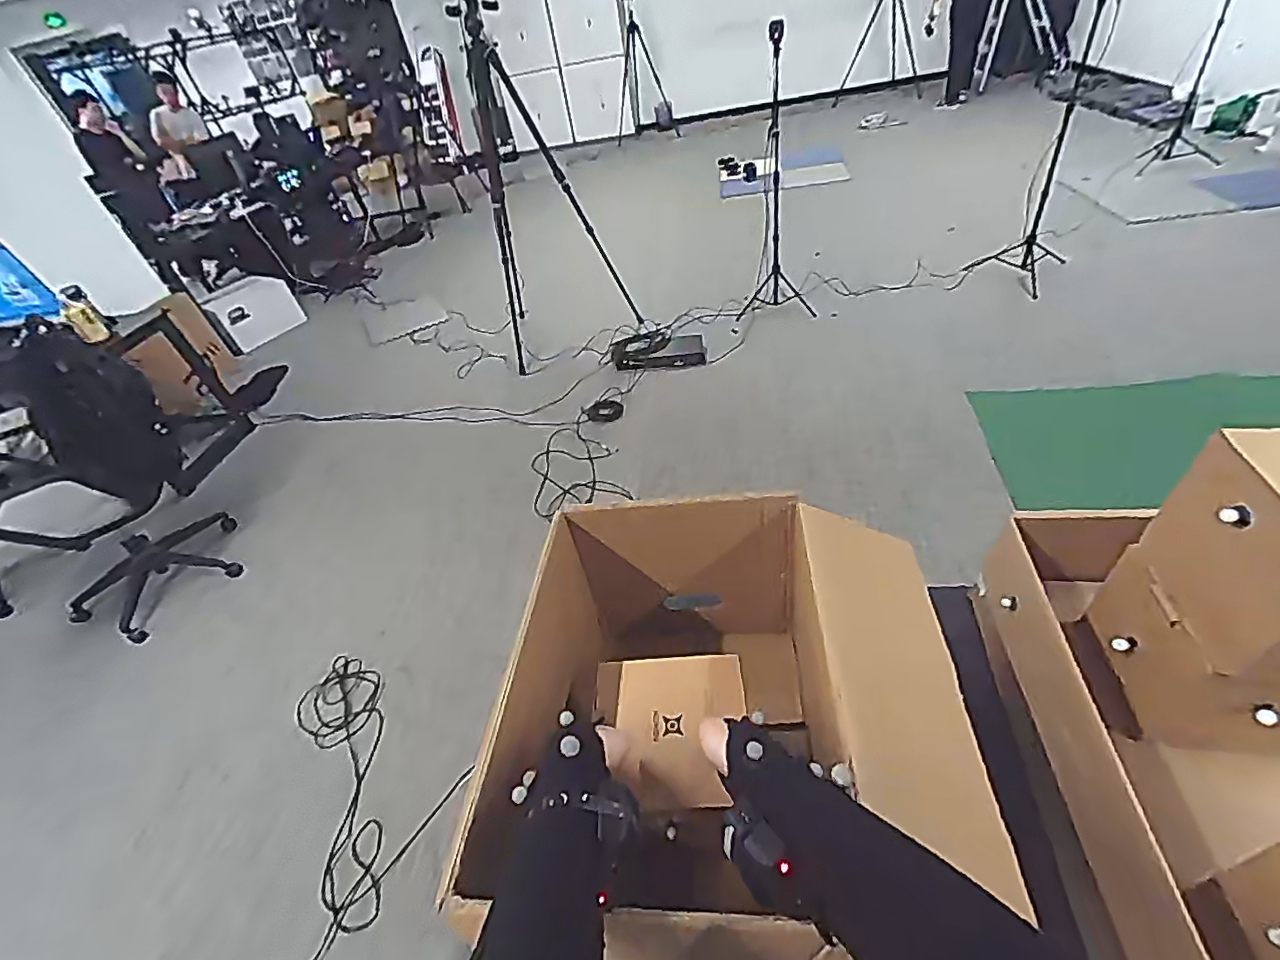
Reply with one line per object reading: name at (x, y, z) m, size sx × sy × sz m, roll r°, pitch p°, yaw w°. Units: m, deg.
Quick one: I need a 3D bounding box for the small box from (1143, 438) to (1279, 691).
small box at (0.630, 0.079, 0.499) m, size 0.168 × 0.176 × 0.179 m, roll -1°, pitch 44°, yaw 13°
